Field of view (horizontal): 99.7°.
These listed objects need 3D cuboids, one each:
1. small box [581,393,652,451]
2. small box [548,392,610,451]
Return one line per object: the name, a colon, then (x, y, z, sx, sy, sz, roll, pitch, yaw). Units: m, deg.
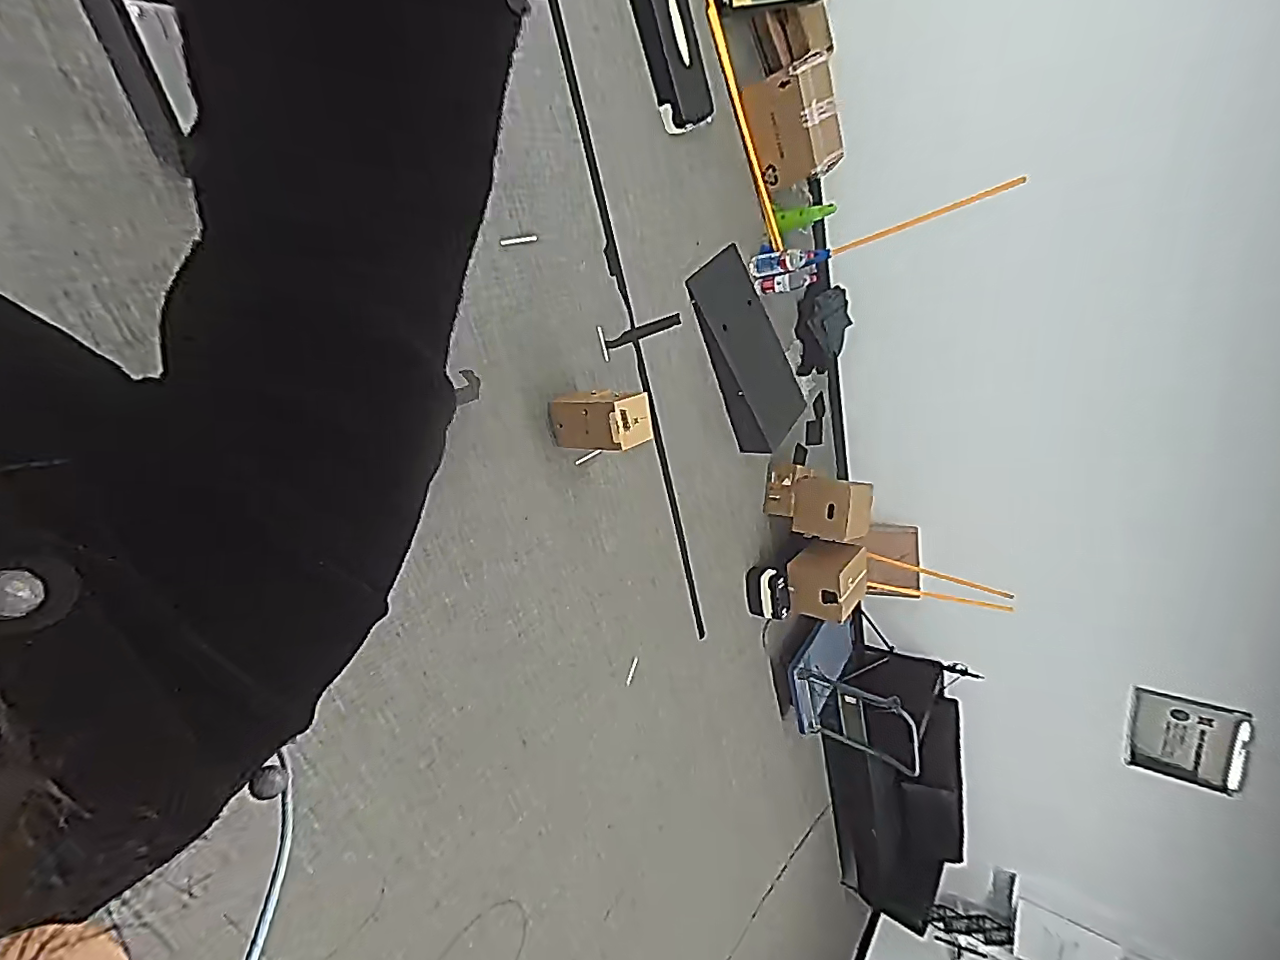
small box: (-0.087, -0.199, 1.857, 0.179, 0.176, 0.168, -26, 114, -46)
small box: (-0.209, -0.218, 1.966, 0.168, 0.176, 0.179, -32, 119, -43)
